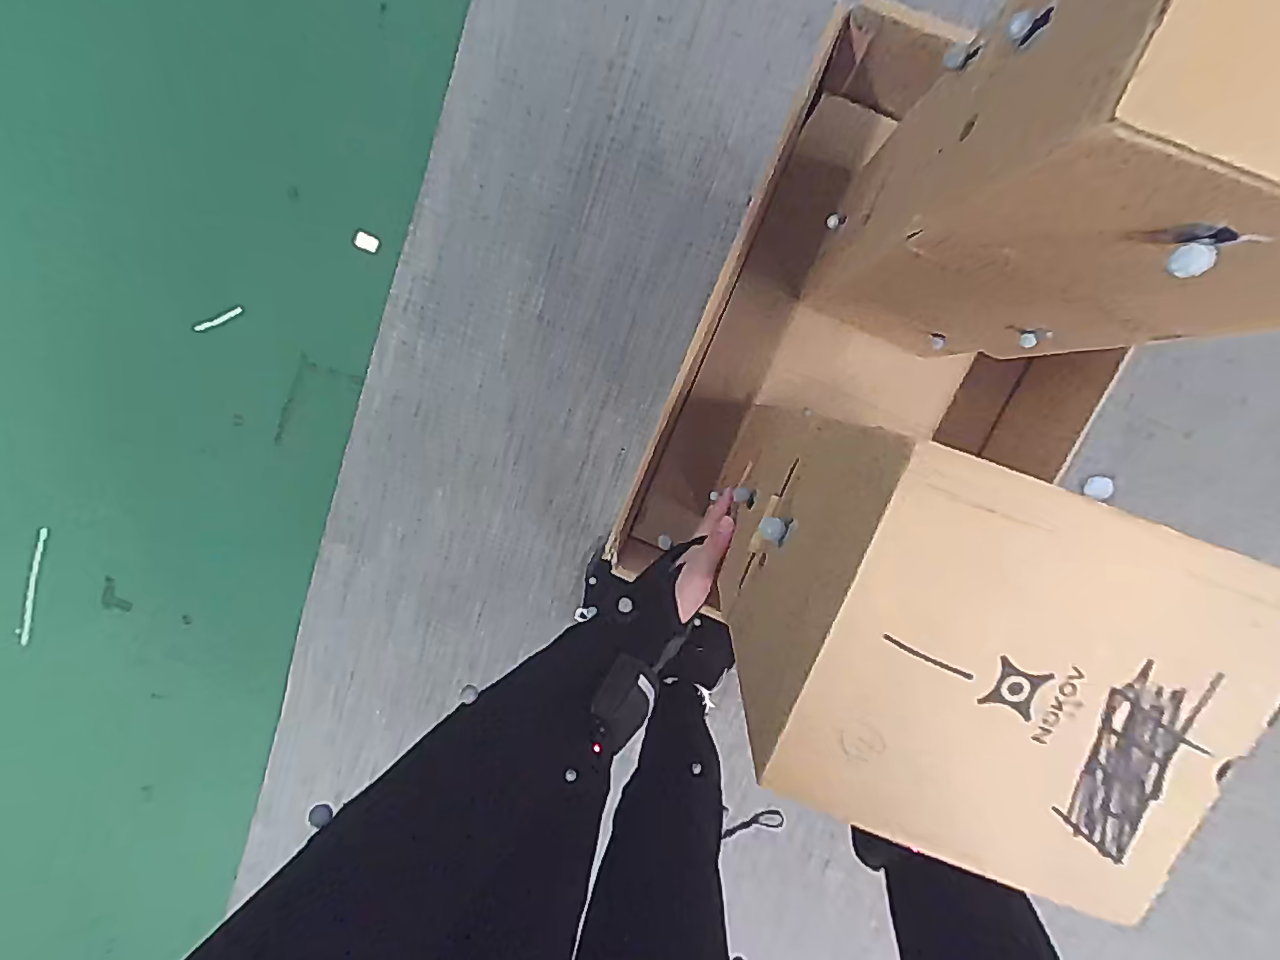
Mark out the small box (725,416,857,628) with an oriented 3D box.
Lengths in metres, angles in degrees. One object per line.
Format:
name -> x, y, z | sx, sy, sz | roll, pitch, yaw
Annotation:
small box -> 0.181, 0.052, 0.457 | 0.179, 0.176, 0.168 | 22, 101, 2

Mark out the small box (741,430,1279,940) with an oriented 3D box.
small box -> 0.170, 0.078, 0.295 | 0.179, 0.176, 0.168 | 21, 101, 2

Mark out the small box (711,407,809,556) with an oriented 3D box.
small box -> 0.192, 0.026, 0.618 | 0.179, 0.176, 0.168 | 24, 100, -1
